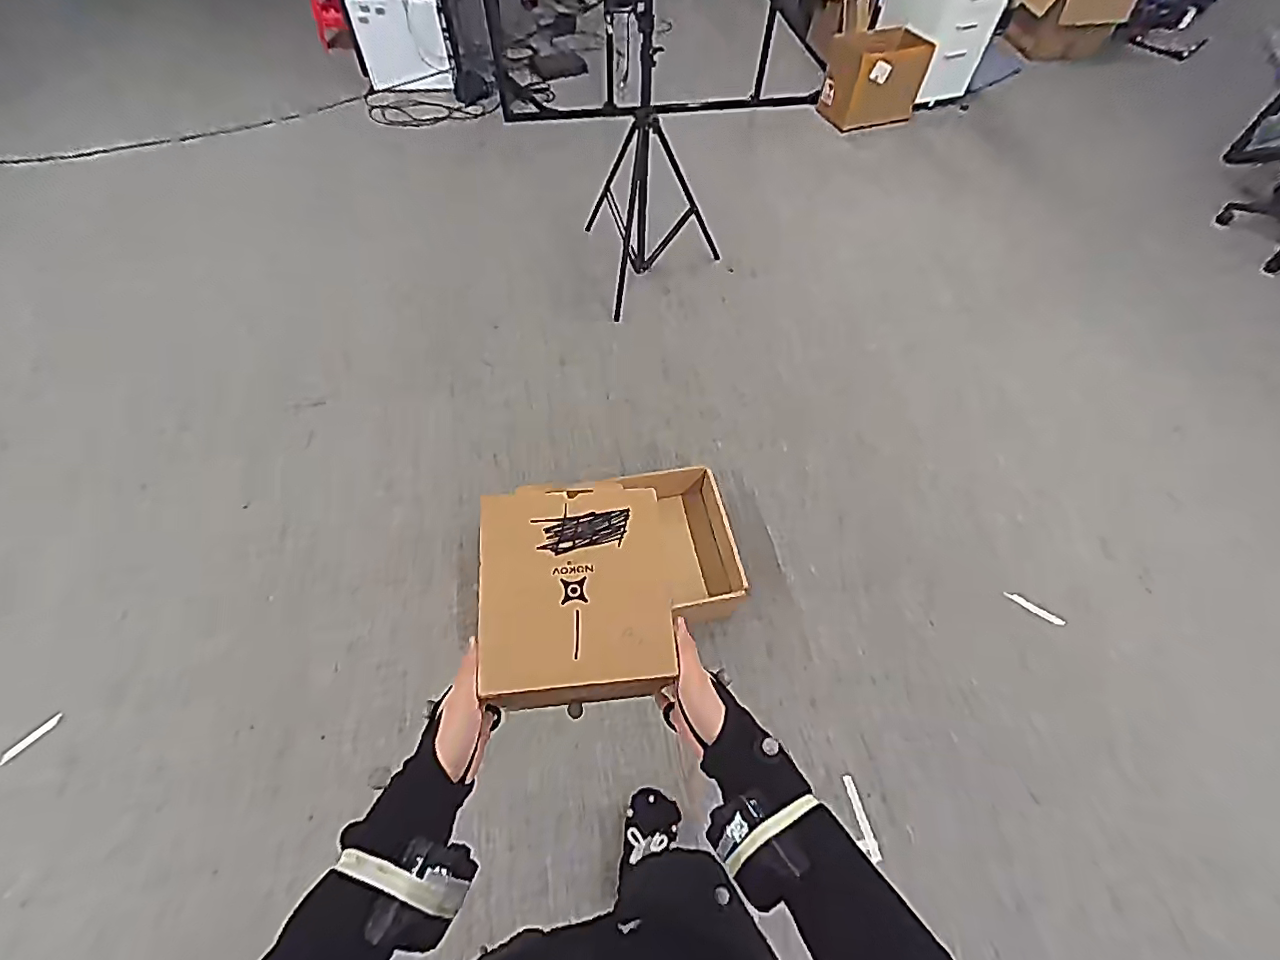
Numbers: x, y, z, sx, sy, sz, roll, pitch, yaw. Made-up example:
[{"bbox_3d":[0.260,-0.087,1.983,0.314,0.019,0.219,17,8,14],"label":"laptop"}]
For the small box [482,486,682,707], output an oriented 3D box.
[{"bbox_3d":[-0.061,0.122,0.546,0.168,0.176,0.179,-3,64,-7],"label":"small box"}]
